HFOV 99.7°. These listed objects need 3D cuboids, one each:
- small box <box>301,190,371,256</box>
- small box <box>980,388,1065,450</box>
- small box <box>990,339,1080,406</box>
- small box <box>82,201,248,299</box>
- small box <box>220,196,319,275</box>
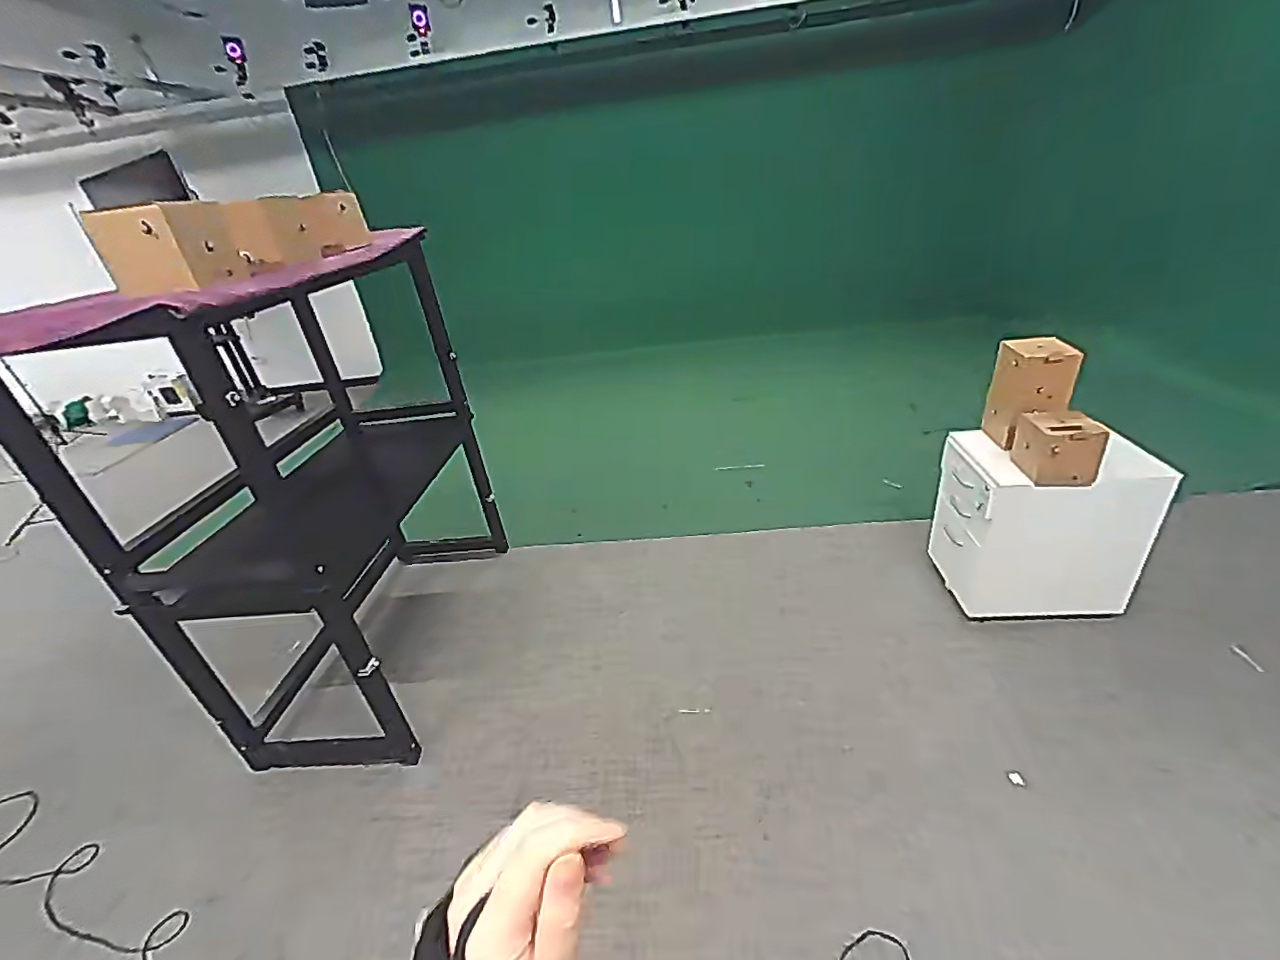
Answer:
[{"bbox_3d":[-1.007,-0.827,1.750,0.168,0.176,0.179,-6,30,8],"label":"small box"},{"bbox_3d":[1.316,-0.217,1.876,0.168,0.176,0.179,-4,30,7],"label":"small box"},{"bbox_3d":[1.299,-0.358,1.794,0.168,0.176,0.179,-3,32,8],"label":"small box"},{"bbox_3d":[-1.005,-0.497,1.166,0.179,0.176,0.168,-5,28,5],"label":"small box"},{"bbox_3d":[-0.999,-0.653,1.448,0.168,0.176,0.179,-6,30,5],"label":"small box"}]
